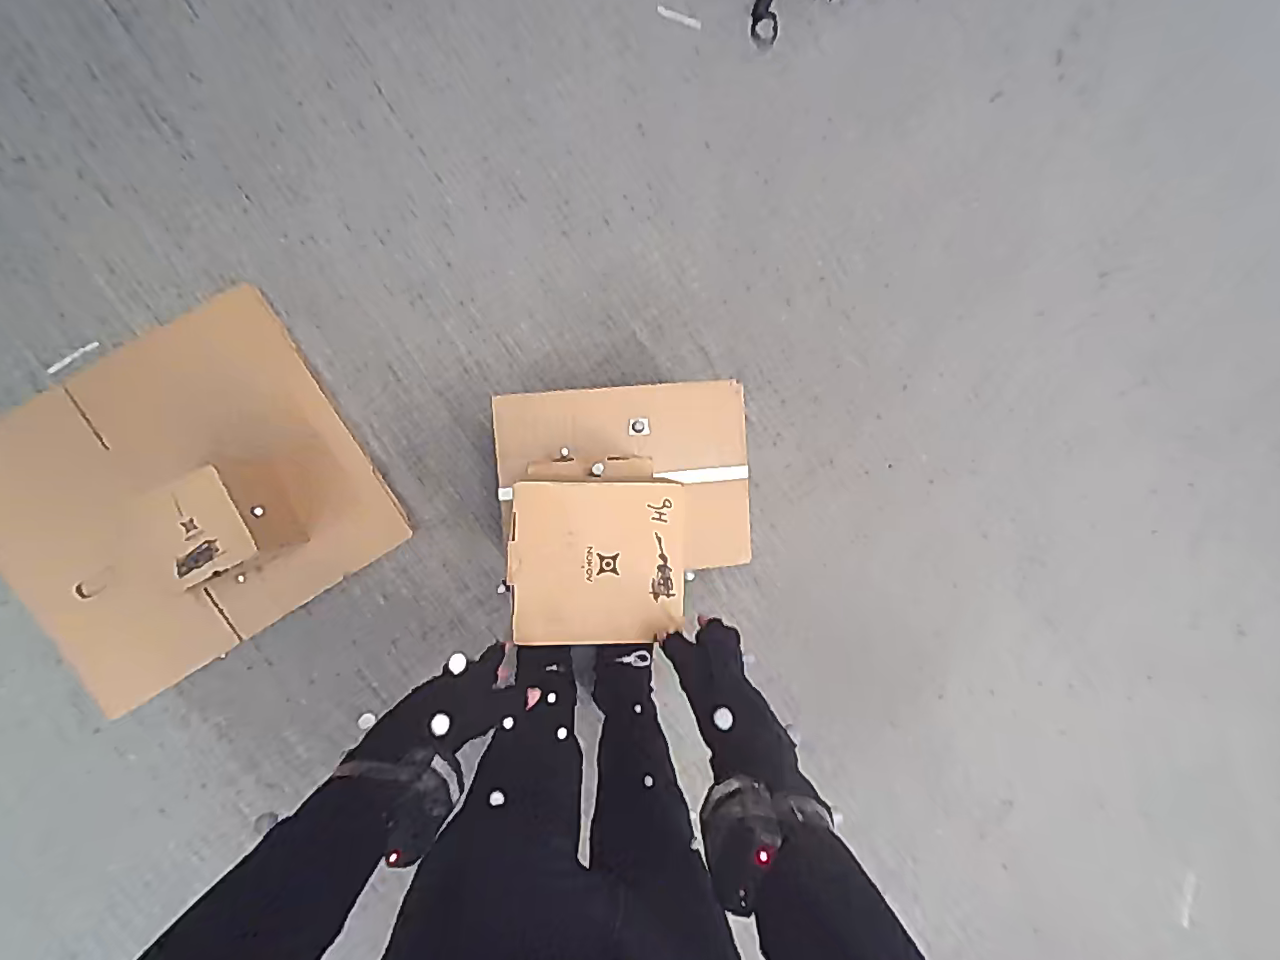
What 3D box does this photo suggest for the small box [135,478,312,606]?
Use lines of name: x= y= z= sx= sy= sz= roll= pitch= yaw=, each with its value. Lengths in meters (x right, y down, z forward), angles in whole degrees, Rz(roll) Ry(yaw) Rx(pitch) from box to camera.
small box: x=-0.762 y=0.106 z=1.013 sx=0.168 sy=0.176 sz=0.179 roll=-28 pitch=91 yaw=-5

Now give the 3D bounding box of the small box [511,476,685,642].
small box: x=-0.048 y=0.082 z=0.633 sx=0.179 sy=0.176 sz=0.168 roll=-2 pitch=90 yaw=-6

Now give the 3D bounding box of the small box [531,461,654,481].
small box: x=-0.067 y=0.063 z=0.793 sx=0.168 sy=0.176 sz=0.179 roll=-3 pitch=93 yaw=-5
